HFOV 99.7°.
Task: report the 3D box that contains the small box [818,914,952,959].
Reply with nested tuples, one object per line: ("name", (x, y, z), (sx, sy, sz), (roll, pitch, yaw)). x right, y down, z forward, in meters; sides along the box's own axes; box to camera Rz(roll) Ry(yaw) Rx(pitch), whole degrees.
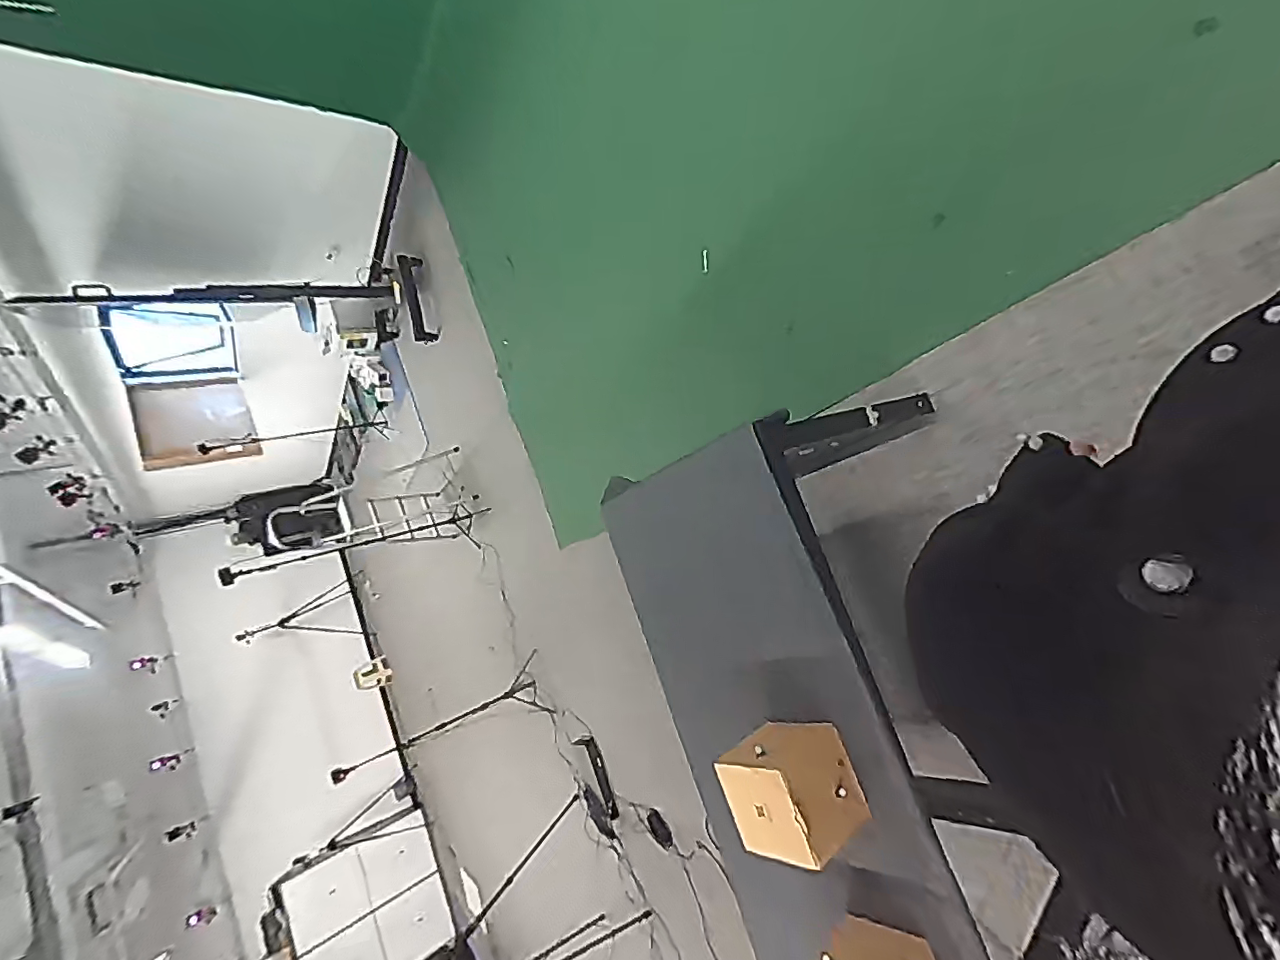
("small box", (0.439, 0.902, 0.931), (0.179, 0.176, 0.168), (-34, 75, 51))

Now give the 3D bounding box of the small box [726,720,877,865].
("small box", (0.297, 0.562, 1.001), (0.179, 0.176, 0.168), (-33, 76, 51))
